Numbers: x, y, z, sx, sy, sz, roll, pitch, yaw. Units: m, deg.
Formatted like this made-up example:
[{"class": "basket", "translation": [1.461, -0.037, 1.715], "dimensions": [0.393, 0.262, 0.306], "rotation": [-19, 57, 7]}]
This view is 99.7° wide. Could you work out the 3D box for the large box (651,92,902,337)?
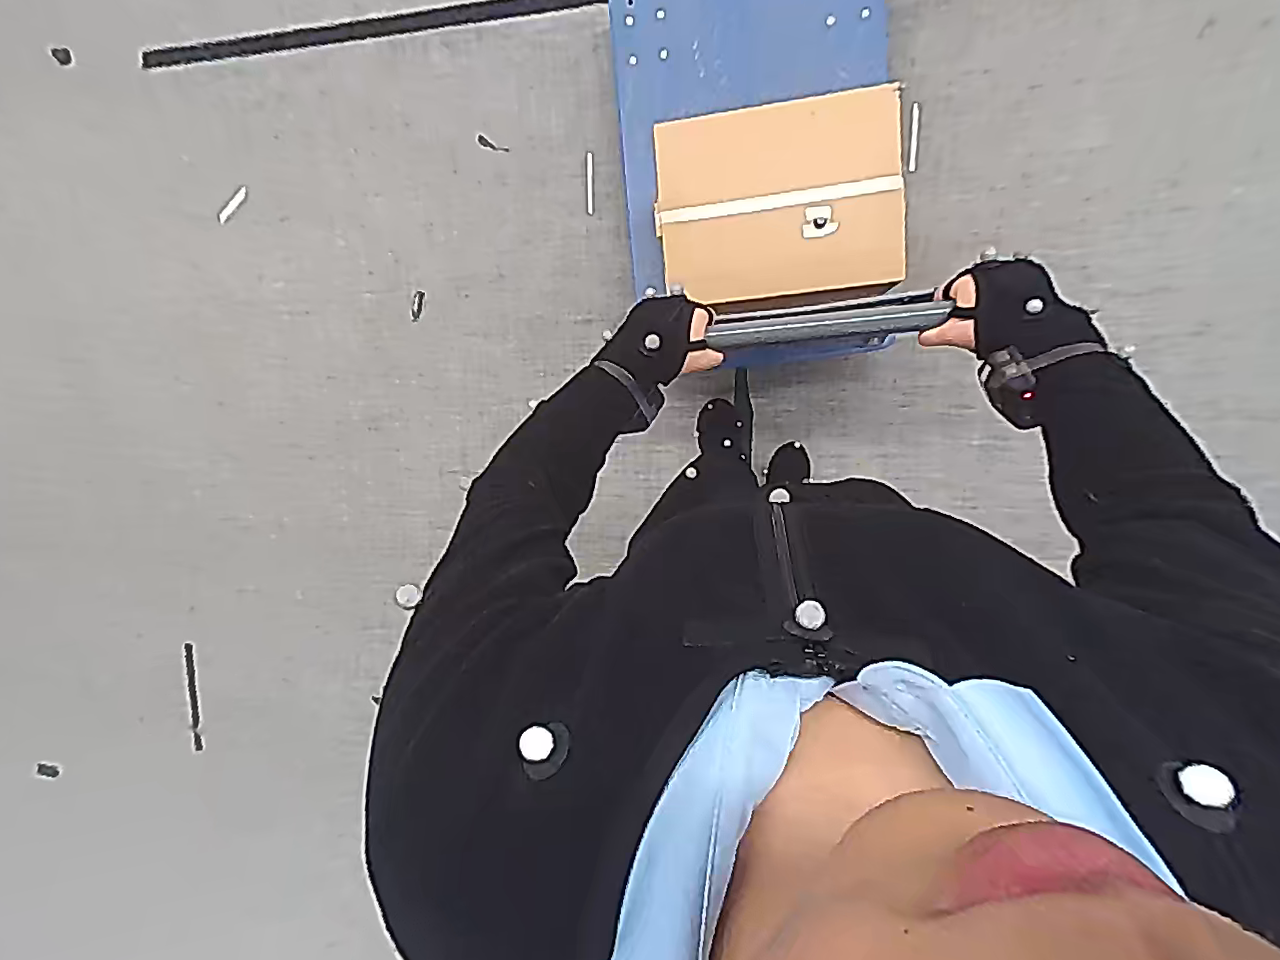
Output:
[{"class": "large box", "translation": [0.248, -0.480, 1.066], "dimensions": [0.408, 0.320, 0.320], "rotation": [-5, 98, 8]}]
